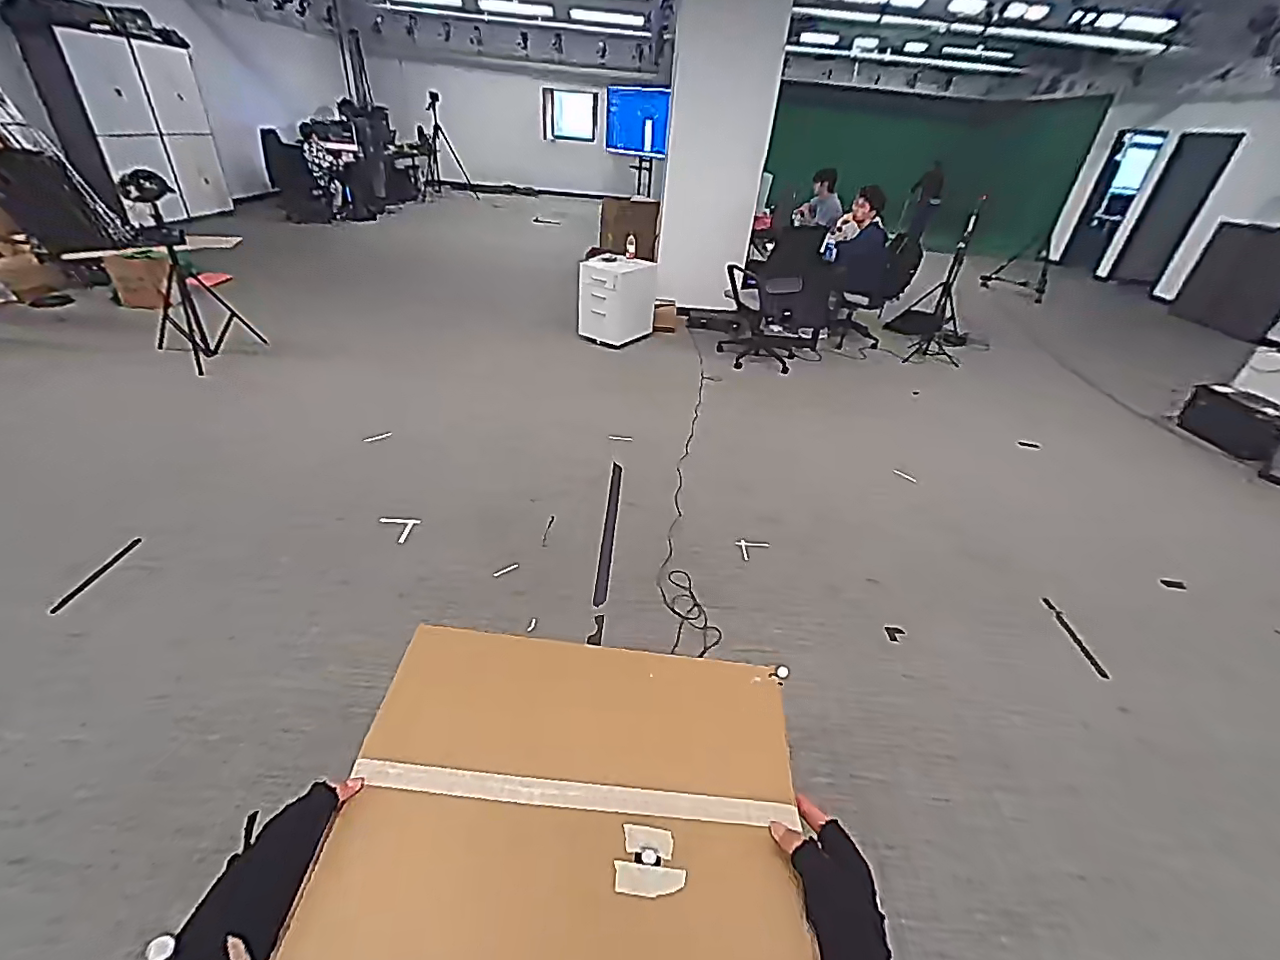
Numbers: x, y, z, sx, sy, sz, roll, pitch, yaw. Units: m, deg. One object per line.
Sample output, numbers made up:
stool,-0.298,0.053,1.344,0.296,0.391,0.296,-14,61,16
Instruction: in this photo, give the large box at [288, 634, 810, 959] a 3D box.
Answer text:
large box,-0.074,0.407,0.595,0.408,0.320,0.320,8,40,-1
